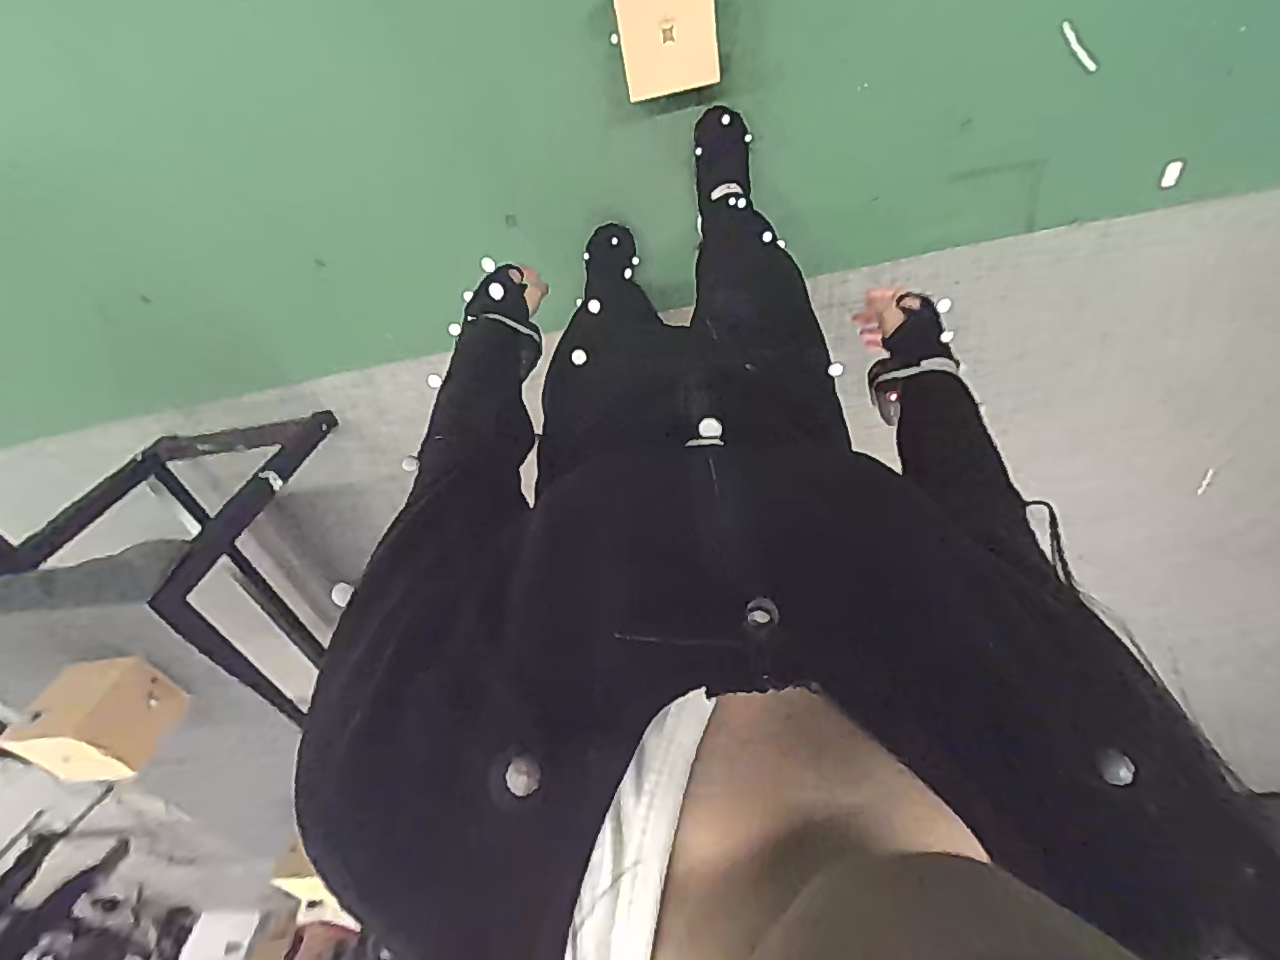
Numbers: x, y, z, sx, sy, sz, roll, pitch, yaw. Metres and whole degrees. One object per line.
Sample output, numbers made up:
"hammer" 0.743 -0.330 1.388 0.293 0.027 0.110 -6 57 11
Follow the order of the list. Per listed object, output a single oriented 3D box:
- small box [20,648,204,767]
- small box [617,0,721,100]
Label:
"small box" -1.074 0.470 1.120 0.179 0.176 0.168 -8 128 10
"small box" 0.055 -0.820 0.986 0.168 0.176 0.179 -8 126 9
